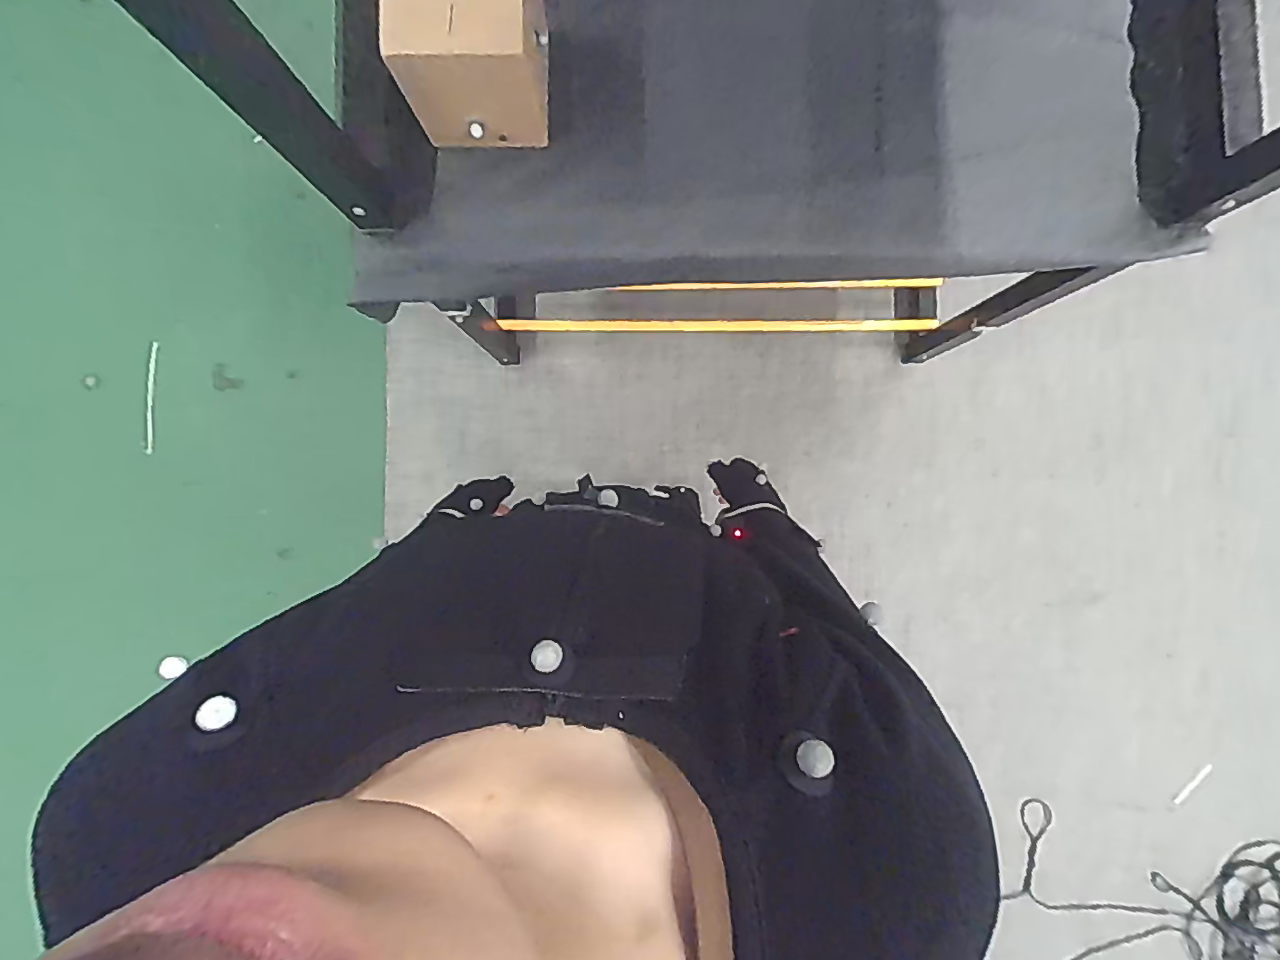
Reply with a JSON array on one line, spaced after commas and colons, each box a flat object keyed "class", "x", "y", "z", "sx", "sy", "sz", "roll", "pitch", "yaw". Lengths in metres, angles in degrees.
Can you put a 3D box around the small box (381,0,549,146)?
[{"class": "small box", "x": -0.214, "y": -0.571, "z": 0.699, "sx": 0.168, "sy": 0.176, "sz": 0.179, "roll": 0, "pitch": 89, "yaw": 0}]
